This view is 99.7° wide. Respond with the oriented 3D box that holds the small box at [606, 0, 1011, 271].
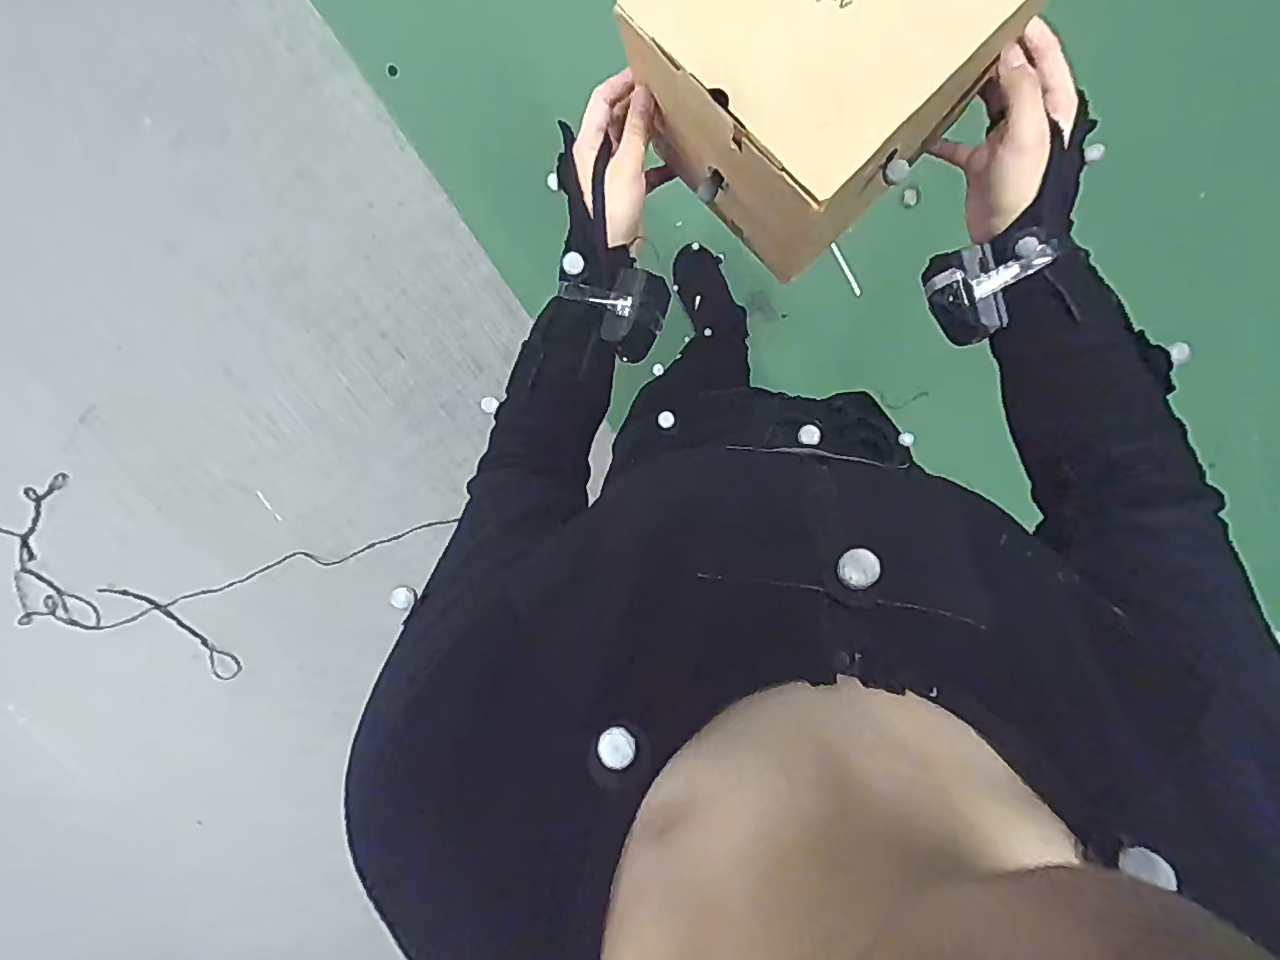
[{"bbox_3d":[0.109,-0.277,0.368,0.179,0.176,0.168,-44,86,11],"label":"small box"}]
